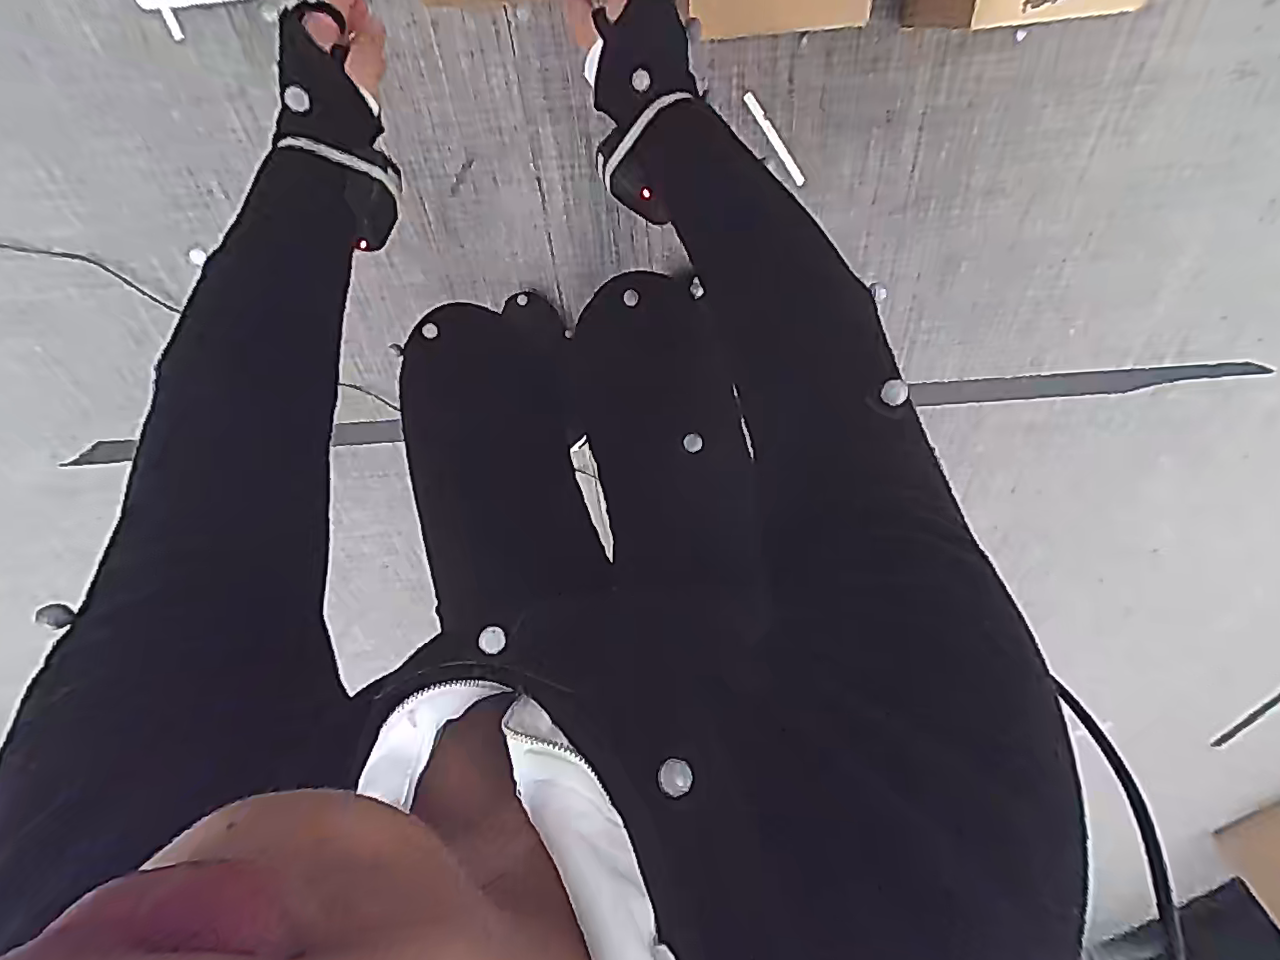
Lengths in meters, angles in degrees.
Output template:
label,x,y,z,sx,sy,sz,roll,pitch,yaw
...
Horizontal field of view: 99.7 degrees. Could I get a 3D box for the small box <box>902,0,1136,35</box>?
label,x,y,z,sx,sy,sz,roll,pitch,yaw
small box,0.384,-0.562,0.534,0.168,0.176,0.179,-5,129,3

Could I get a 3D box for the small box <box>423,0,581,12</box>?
label,x,y,z,sx,sy,sz,roll,pitch,yaw
small box,-0.134,-0.569,0.512,0.168,0.176,0.179,-5,130,2

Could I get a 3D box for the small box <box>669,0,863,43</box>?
label,x,y,z,sx,sy,sz,roll,pitch,yaw
small box,0.121,-0.549,0.539,0.179,0.176,0.168,-3,129,2
